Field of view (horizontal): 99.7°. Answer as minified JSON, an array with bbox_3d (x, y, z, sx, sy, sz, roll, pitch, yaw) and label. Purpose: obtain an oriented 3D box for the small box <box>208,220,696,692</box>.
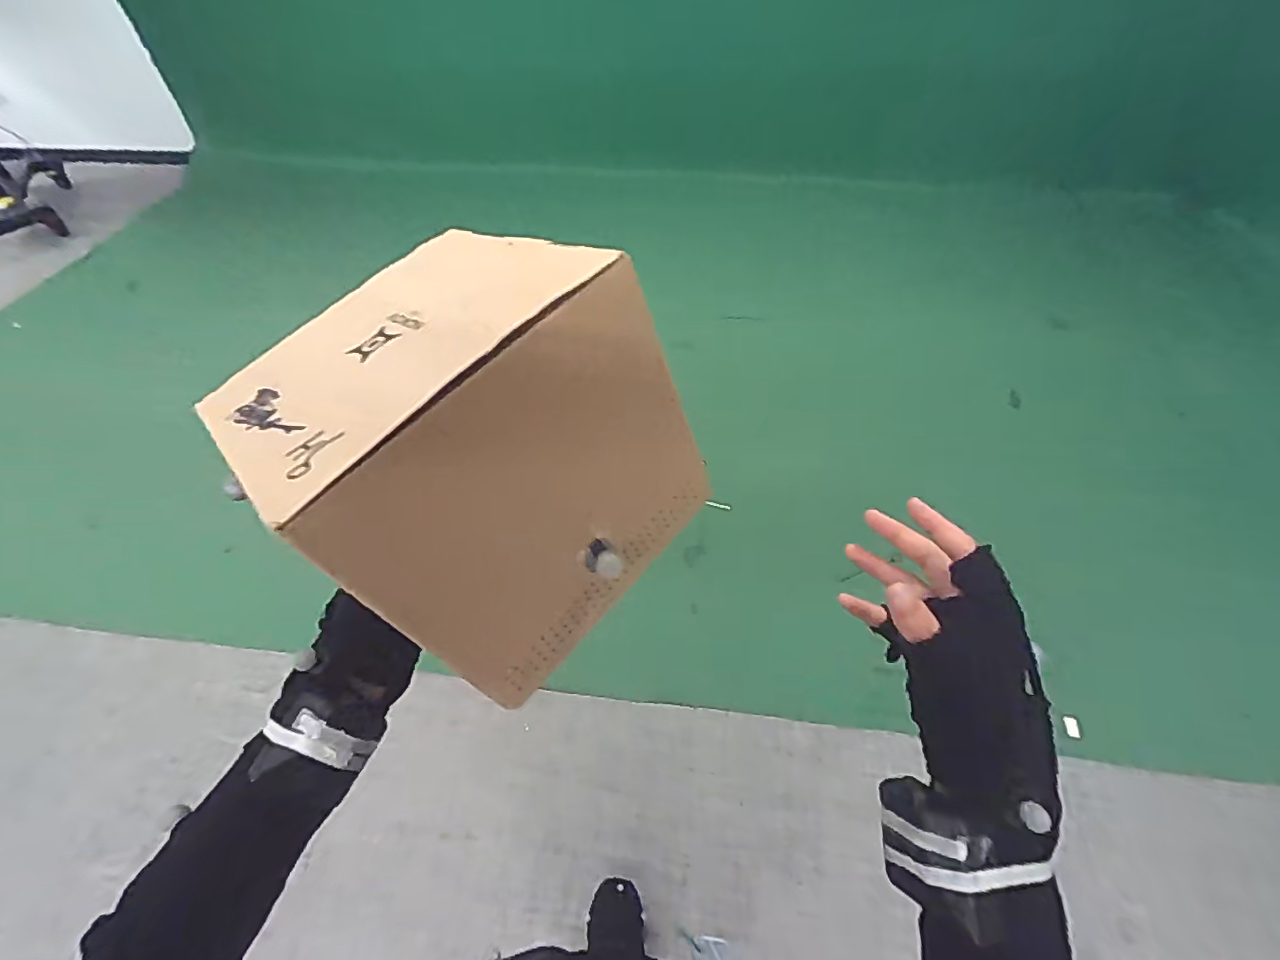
[{"bbox_3d":[-0.086,-0.020,0.309,0.179,0.176,0.168,-44,46,-19],"label":"small box"}]
